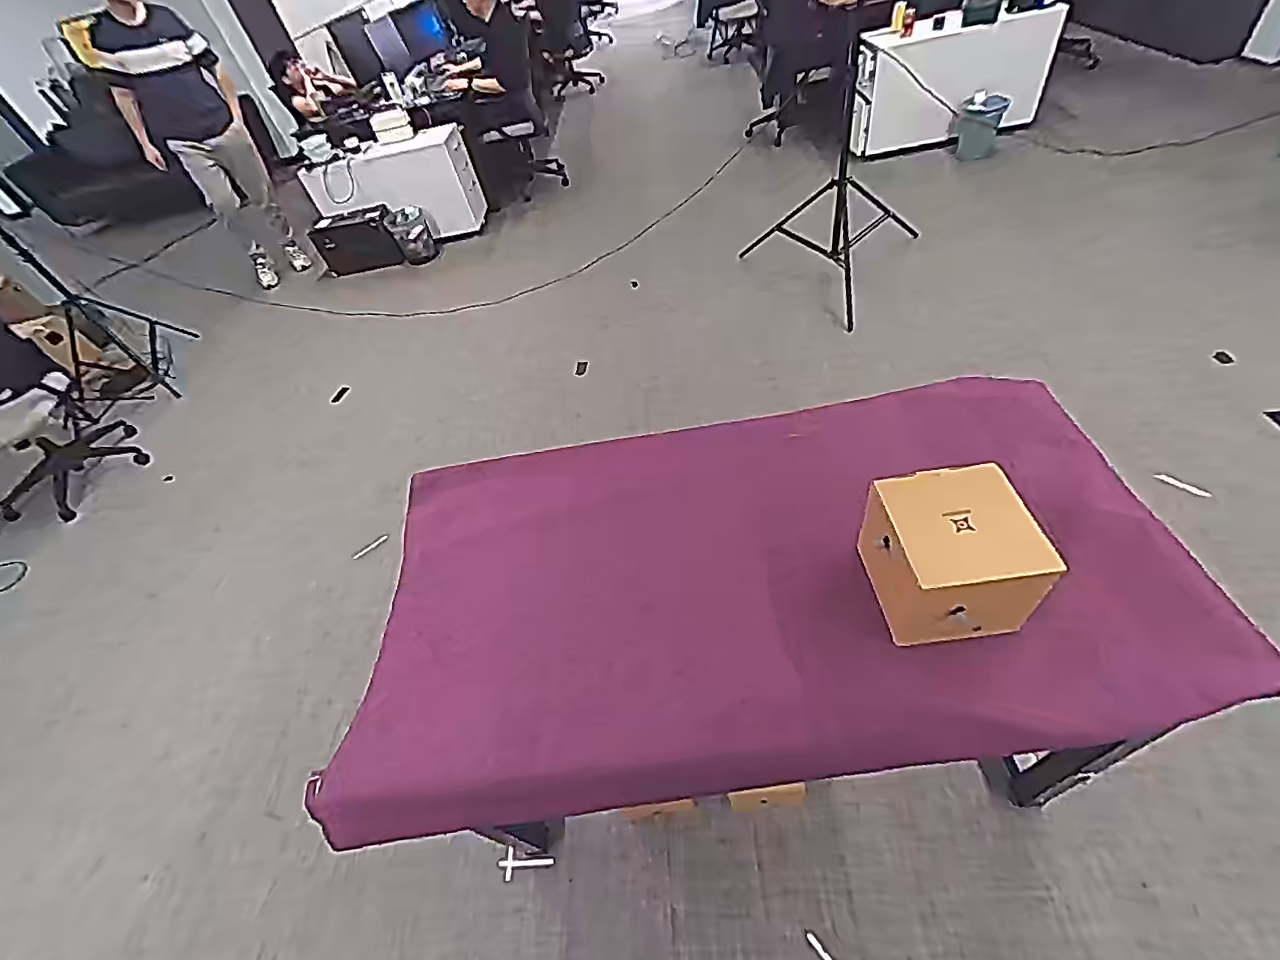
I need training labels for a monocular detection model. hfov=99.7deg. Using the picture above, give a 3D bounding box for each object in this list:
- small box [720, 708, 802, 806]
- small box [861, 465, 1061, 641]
[{"bbox_3d":[0.285,0.661,1.280,0.168,0.176,0.179,-6,47,7],"label":"small box"},{"bbox_3d":[0.422,0.108,0.749,0.168,0.176,0.179,-9,47,6],"label":"small box"}]
